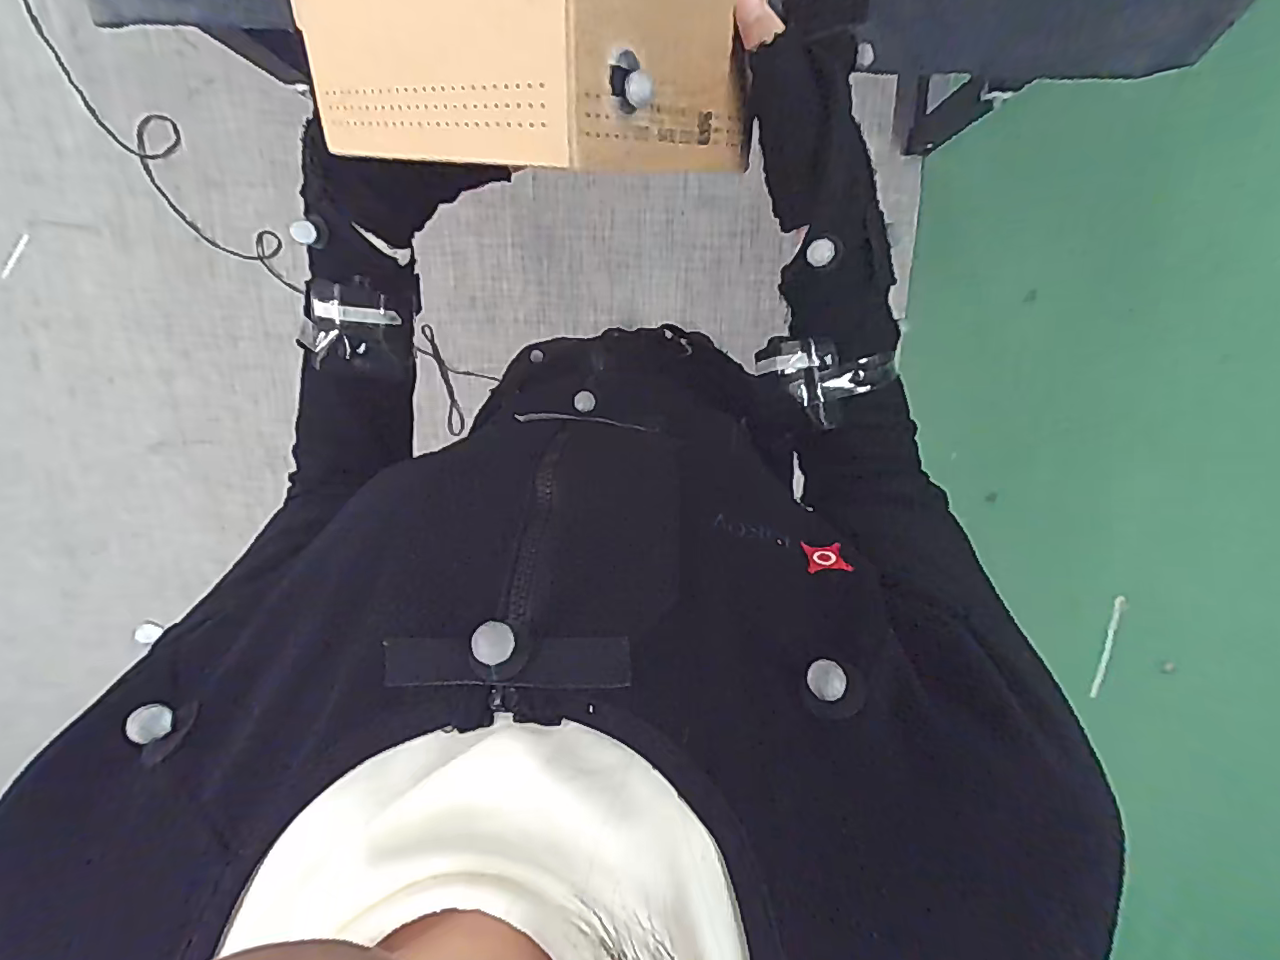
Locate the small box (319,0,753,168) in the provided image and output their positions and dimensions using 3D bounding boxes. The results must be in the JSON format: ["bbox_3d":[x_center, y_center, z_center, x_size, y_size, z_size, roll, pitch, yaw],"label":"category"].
[{"bbox_3d":[-0.048,-0.263,0.282,0.179,0.168,0.176,21,124,29],"label":"small box"}]
